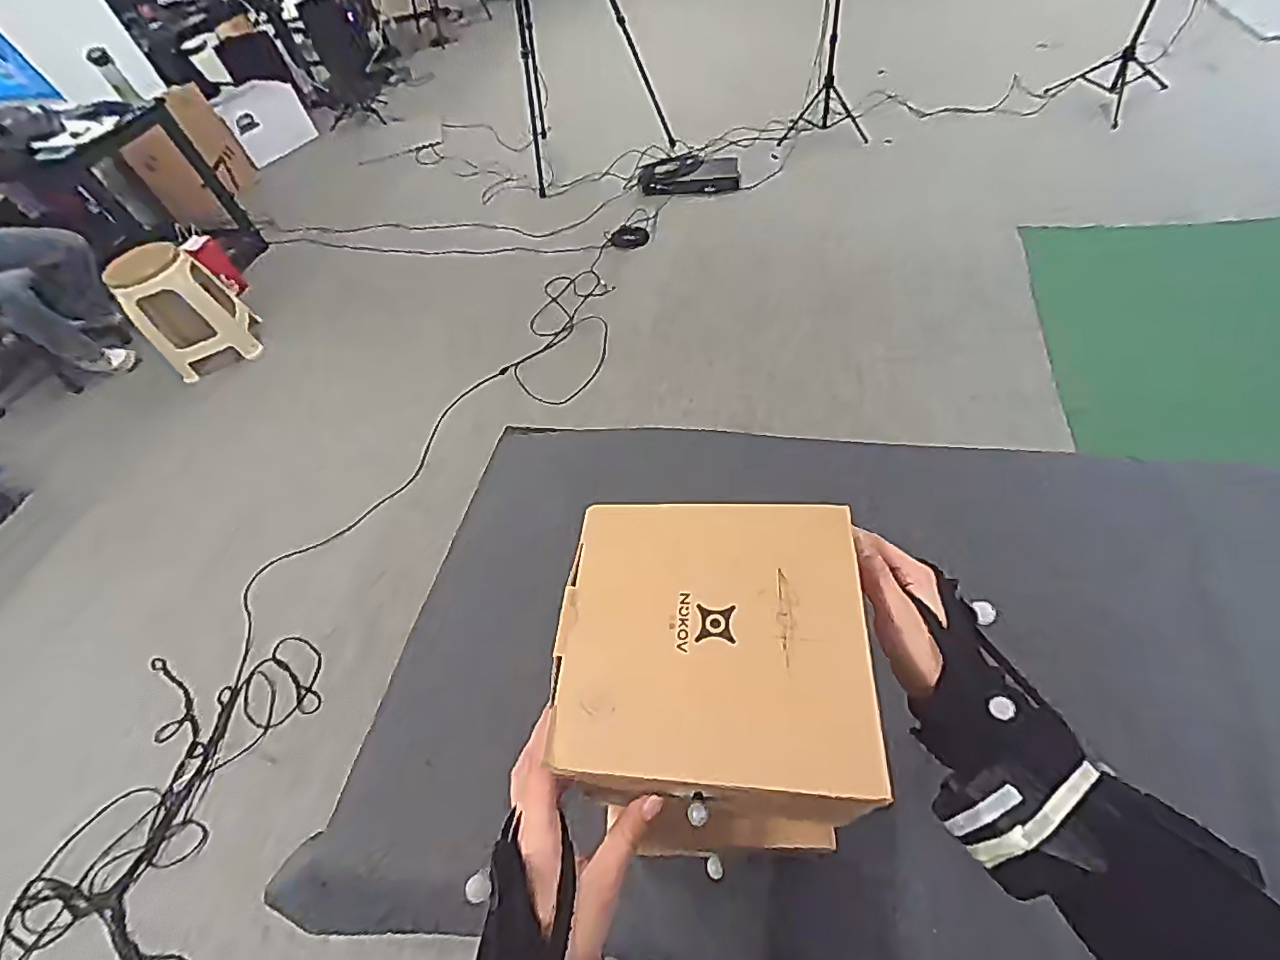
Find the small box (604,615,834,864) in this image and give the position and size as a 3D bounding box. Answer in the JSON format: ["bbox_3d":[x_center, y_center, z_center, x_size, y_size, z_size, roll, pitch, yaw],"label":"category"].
[{"bbox_3d":[0.069,0.240,0.495,0.168,0.176,0.179,-4,54,8],"label":"small box"}]
